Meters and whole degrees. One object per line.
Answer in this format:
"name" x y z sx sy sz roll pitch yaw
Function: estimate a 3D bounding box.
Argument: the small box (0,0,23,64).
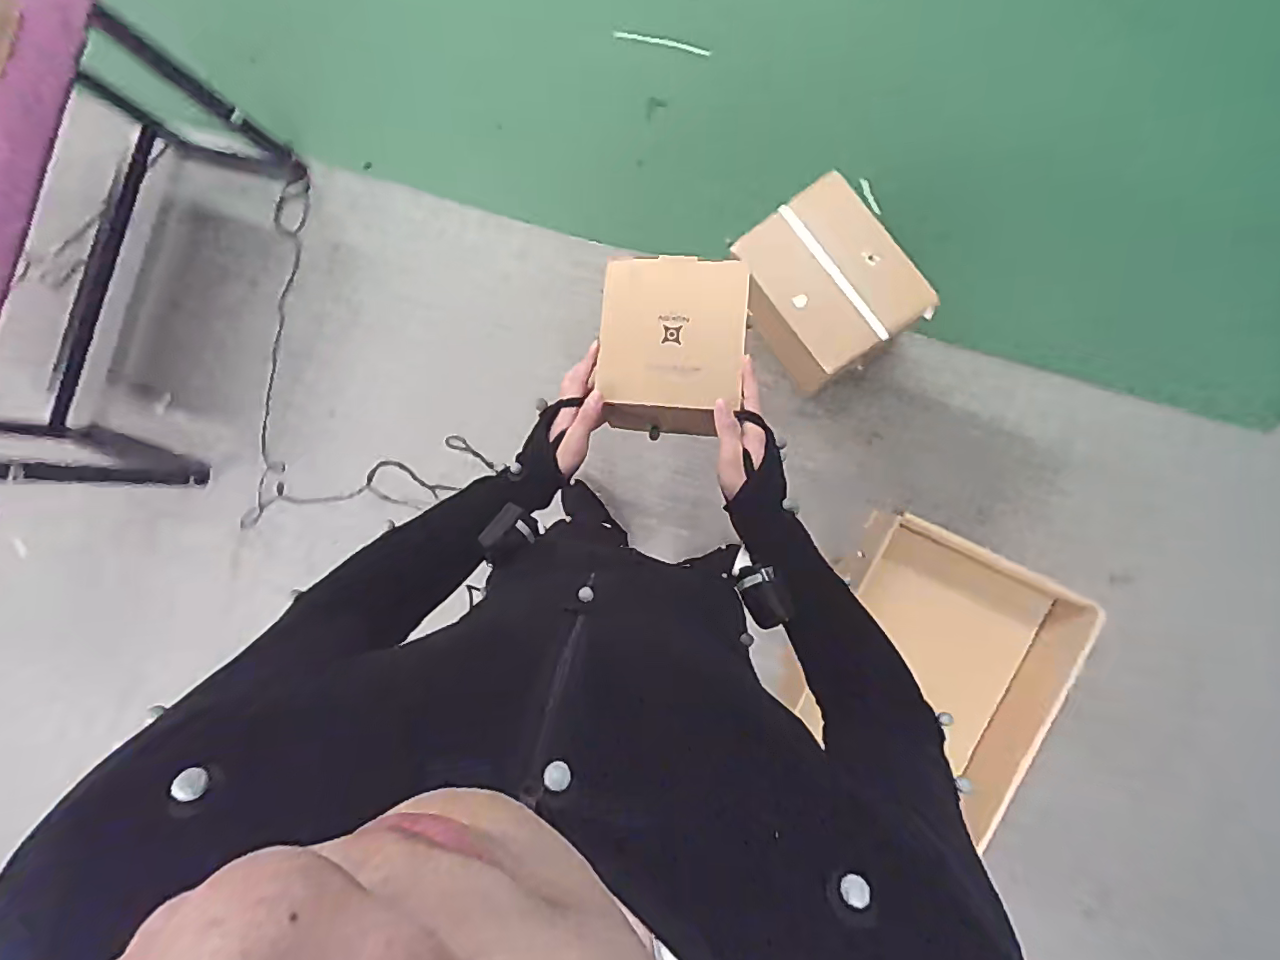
"small box" -1.421 -0.974 1.082 0.179 0.176 0.168 21 92 11
